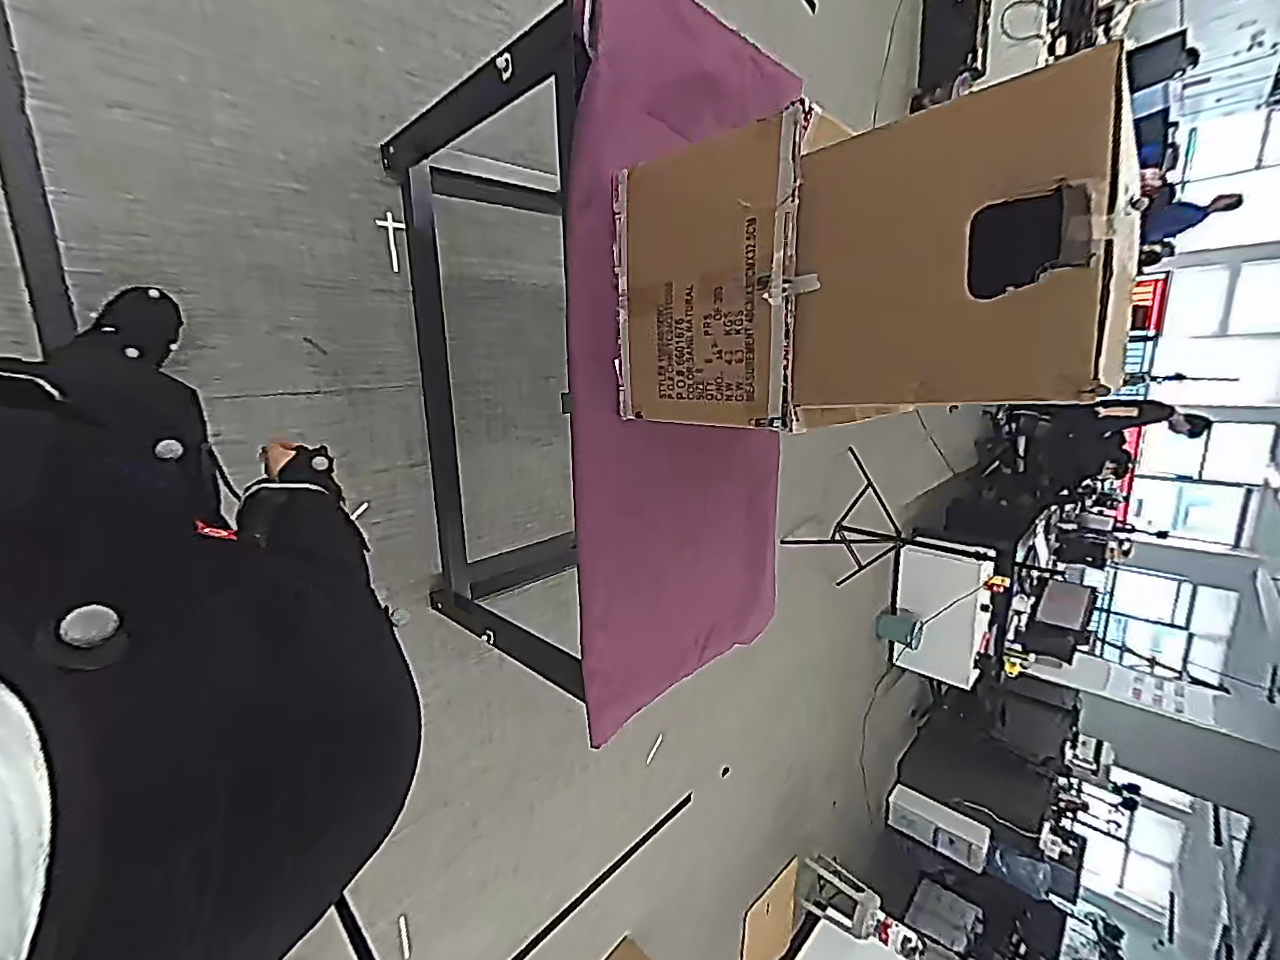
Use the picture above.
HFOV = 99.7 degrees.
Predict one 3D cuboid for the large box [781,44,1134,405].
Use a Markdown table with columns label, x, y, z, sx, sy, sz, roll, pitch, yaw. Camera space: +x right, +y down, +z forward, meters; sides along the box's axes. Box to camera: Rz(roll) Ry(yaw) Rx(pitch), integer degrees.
| label | x | y | z | sx | sy | sz | roll | pitch | yaw |
| --- | --- | --- | --- | --- | --- | --- | --- | --- | --- |
| large box | 0.428 | -0.266 | 0.723 | 0.408 | 0.320 | 0.320 | -12 | 102 | -45 |
